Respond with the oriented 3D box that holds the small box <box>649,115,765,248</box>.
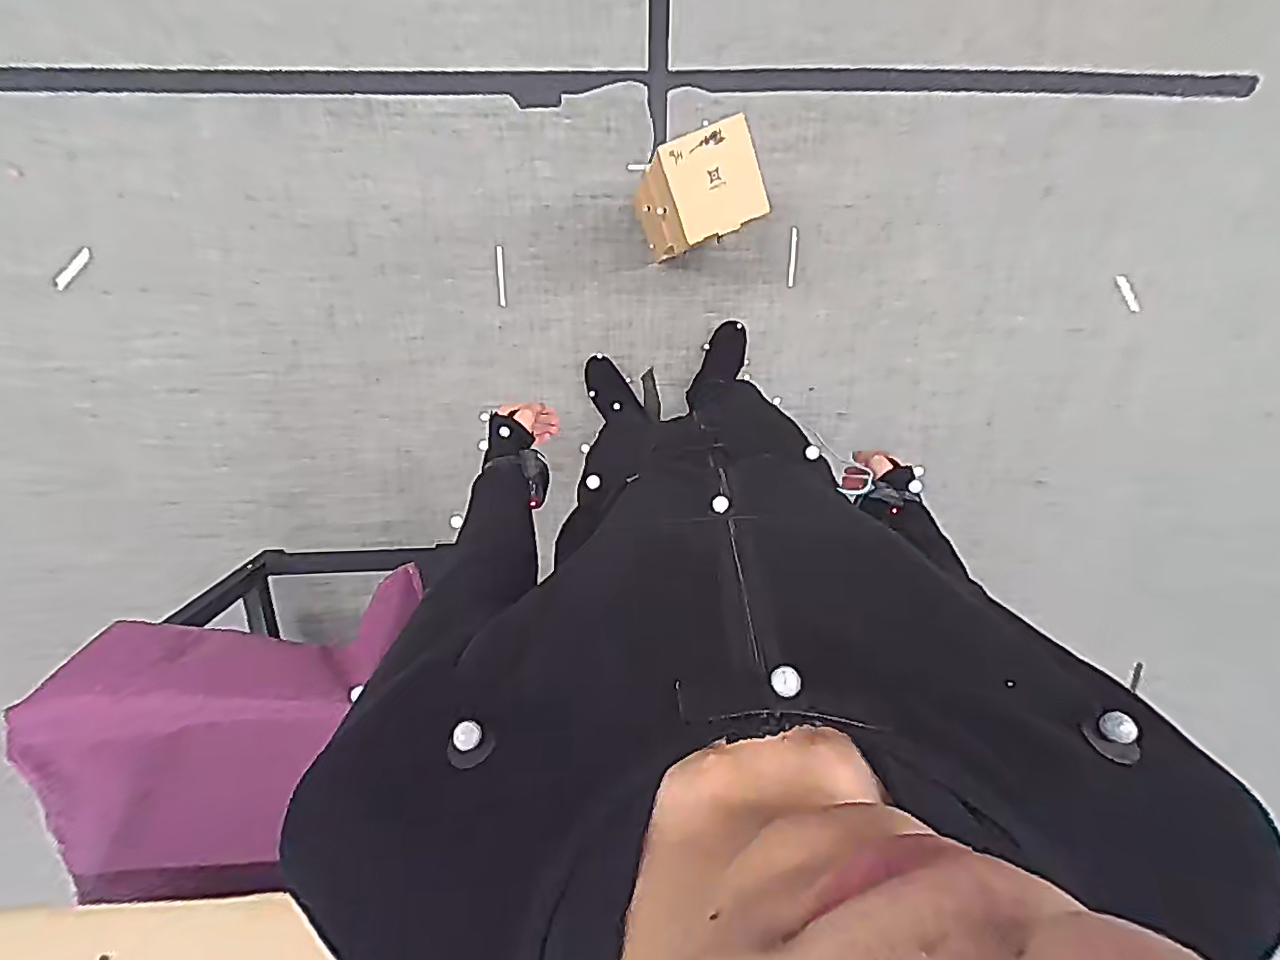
[{"bbox_3d":[0.126,-0.571,1.062,0.168,0.176,0.179,-21,109,2],"label":"small box"}]
